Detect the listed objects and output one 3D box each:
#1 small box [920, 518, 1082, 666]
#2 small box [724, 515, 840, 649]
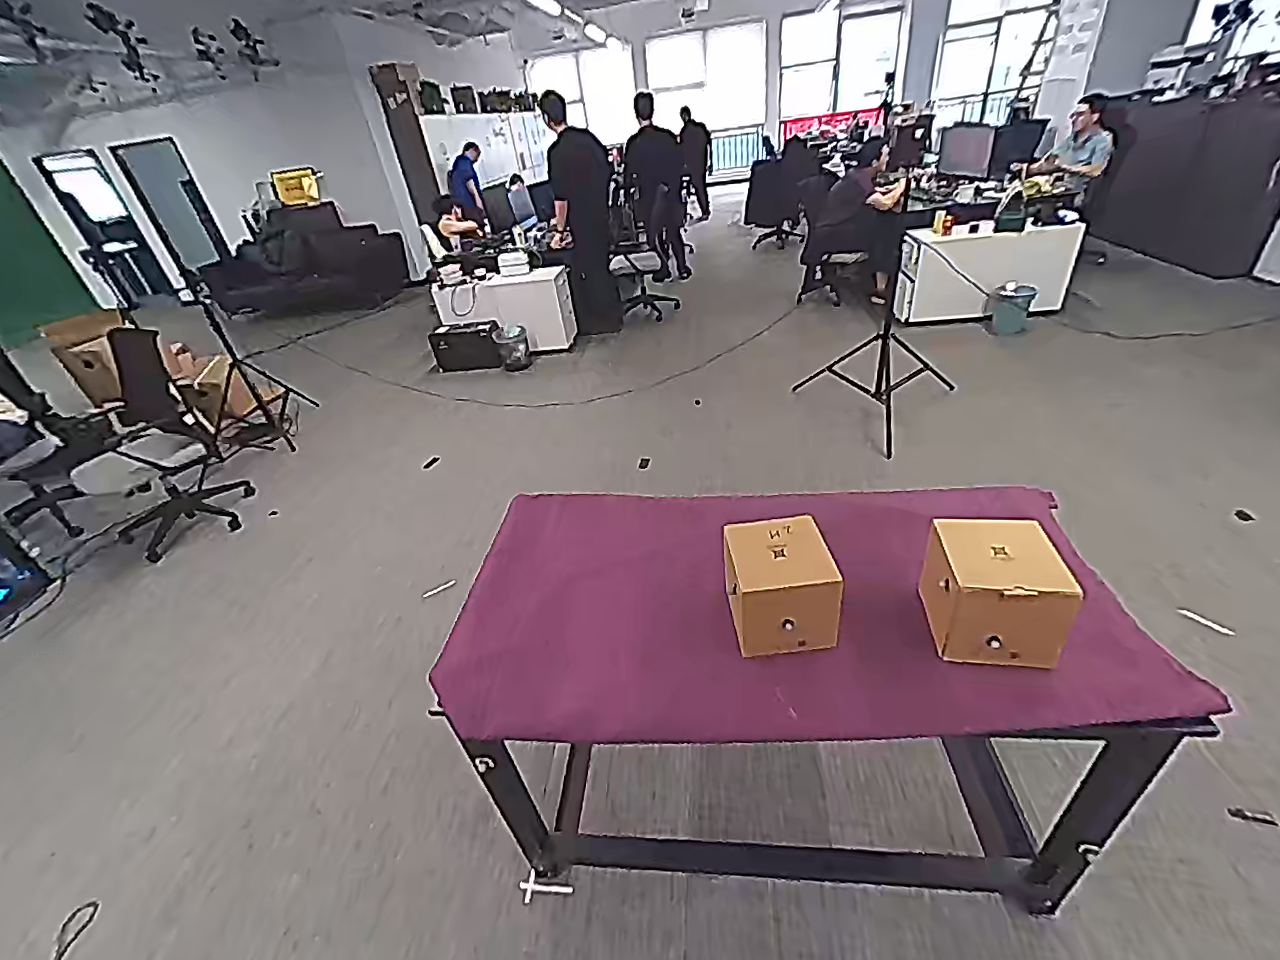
[{"bbox_3d":[0.589,0.183,0.912,0.168,0.176,0.179,0,33,13],"label":"small box"},{"bbox_3d":[0.250,0.189,0.981,0.168,0.176,0.179,-7,33,2],"label":"small box"}]
